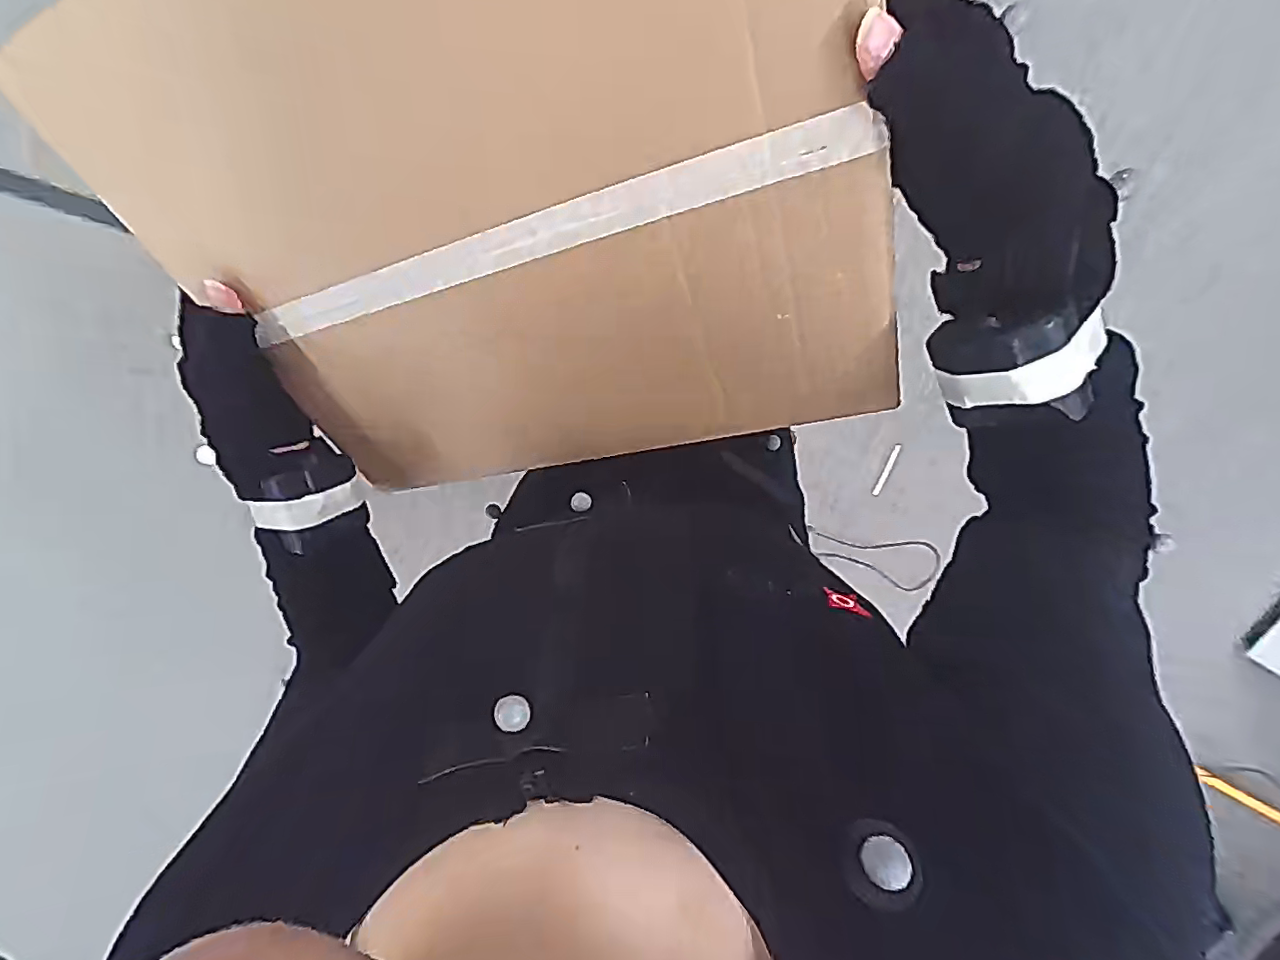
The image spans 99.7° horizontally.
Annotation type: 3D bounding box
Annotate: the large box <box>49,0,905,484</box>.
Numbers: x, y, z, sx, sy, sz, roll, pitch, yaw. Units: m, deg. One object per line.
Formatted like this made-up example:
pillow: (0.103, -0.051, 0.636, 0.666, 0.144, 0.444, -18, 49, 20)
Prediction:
large box: (-0.049, -0.233, 0.409, 0.408, 0.320, 0.320, -8, 133, 18)
